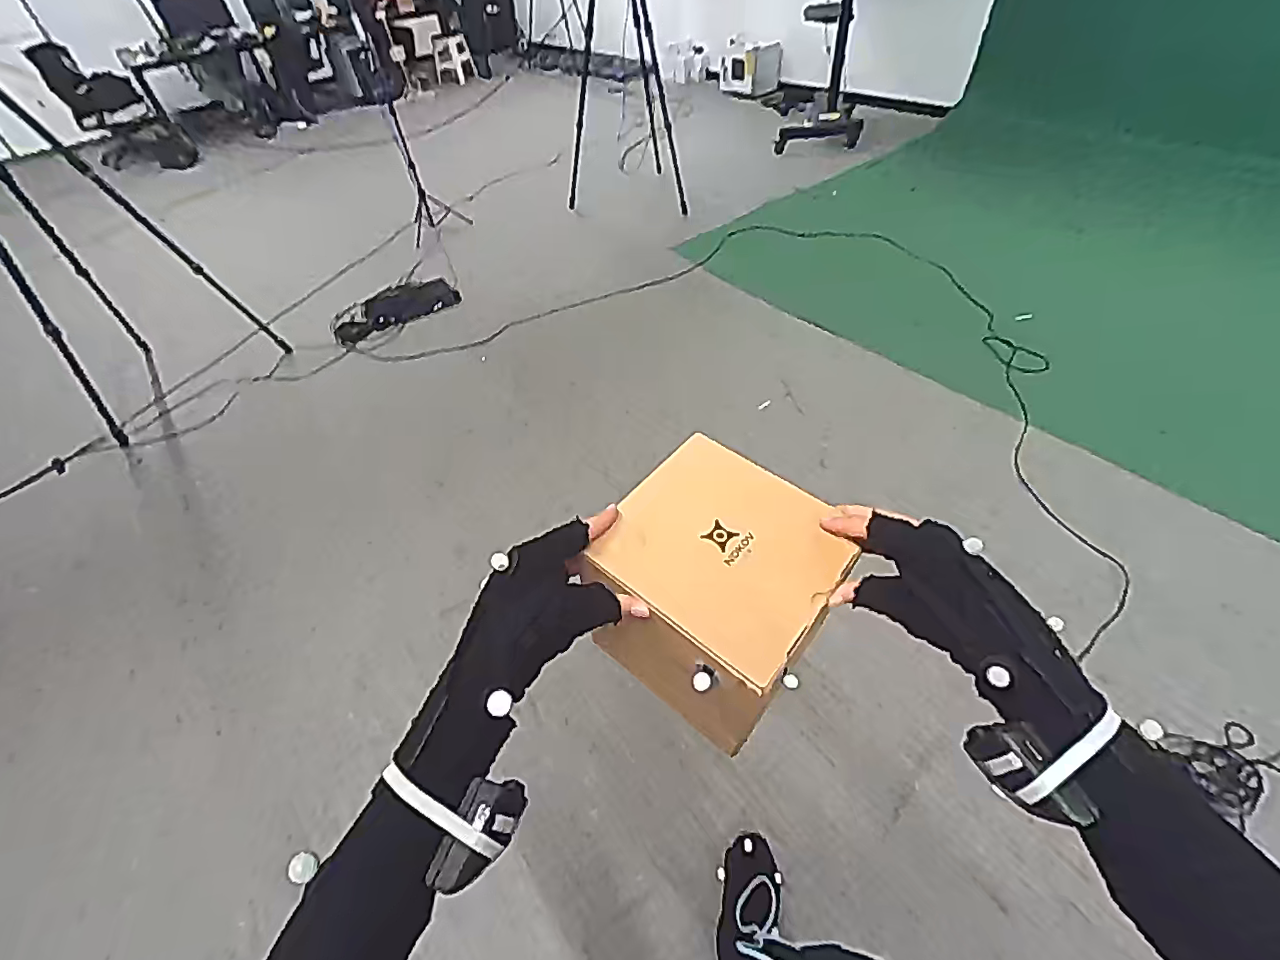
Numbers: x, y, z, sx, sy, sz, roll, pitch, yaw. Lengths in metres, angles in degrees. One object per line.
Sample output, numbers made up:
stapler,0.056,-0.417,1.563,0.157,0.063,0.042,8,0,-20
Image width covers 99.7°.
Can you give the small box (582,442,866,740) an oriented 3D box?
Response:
small box,0.068,0.103,0.497,0.179,0.176,0.168,32,57,25
